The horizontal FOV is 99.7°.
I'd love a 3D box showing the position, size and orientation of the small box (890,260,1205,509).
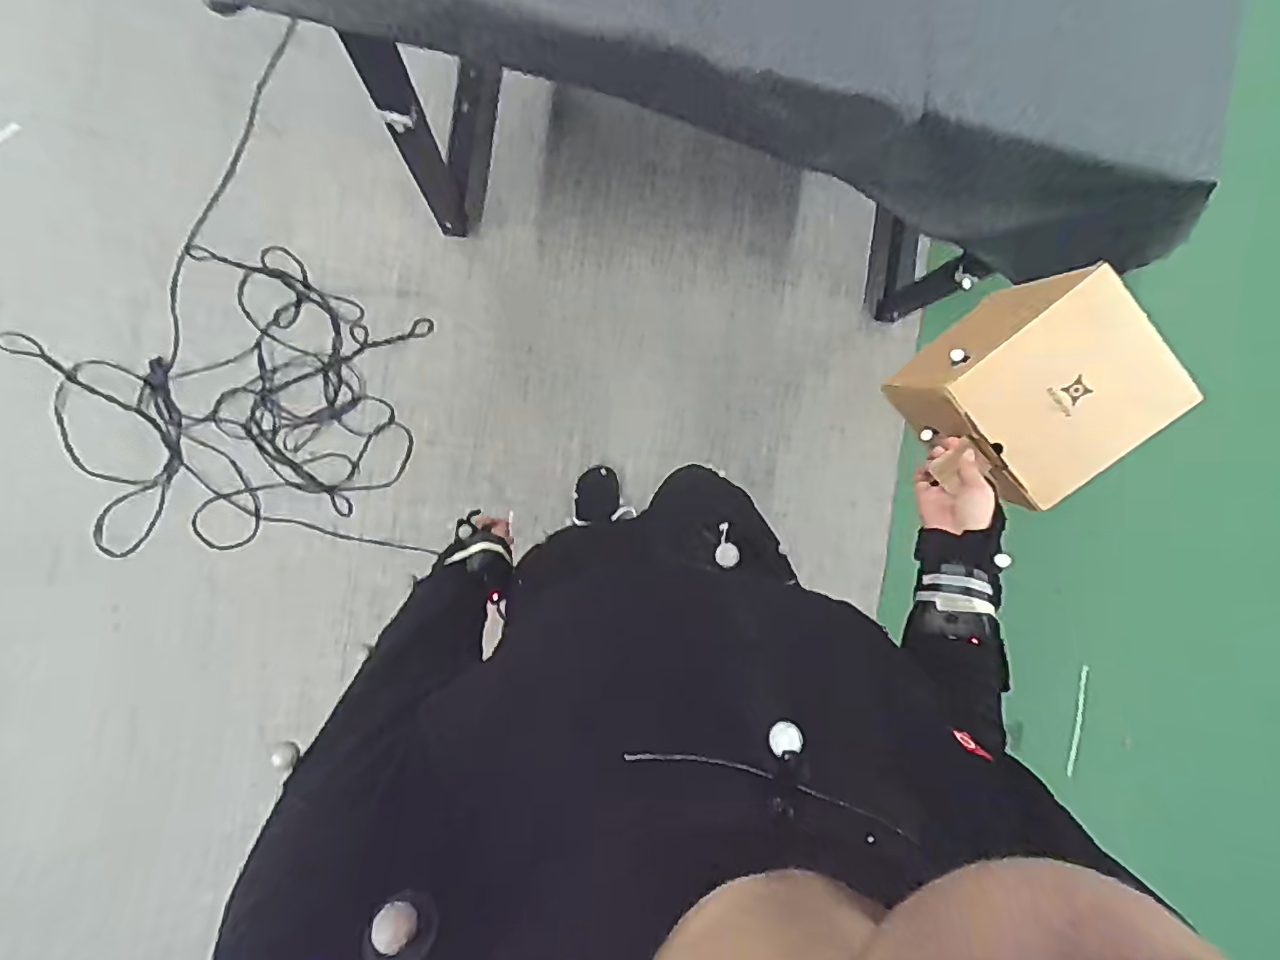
[{"bbox_3d":[0.412,-0.102,0.583,0.179,0.176,0.168,-42,97,11],"label":"small box"}]
